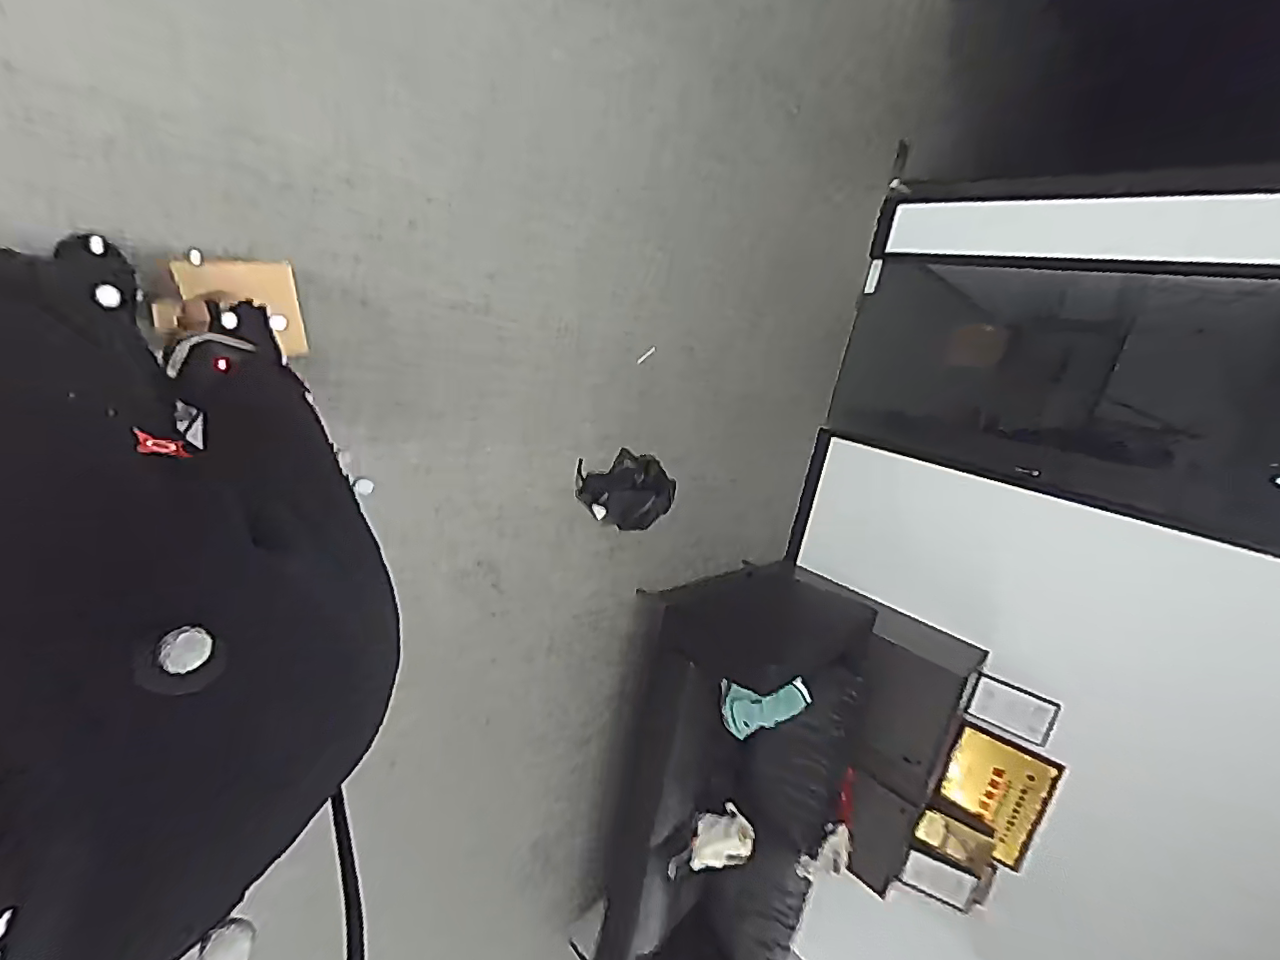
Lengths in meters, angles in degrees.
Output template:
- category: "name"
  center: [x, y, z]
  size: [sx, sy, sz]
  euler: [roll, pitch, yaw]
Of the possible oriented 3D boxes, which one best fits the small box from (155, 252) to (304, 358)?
- category: "small box"
  center: [-0.771, -0.337, 1.020]
  size: [0.179, 0.176, 0.168]
  euler: [-20, 123, -40]
